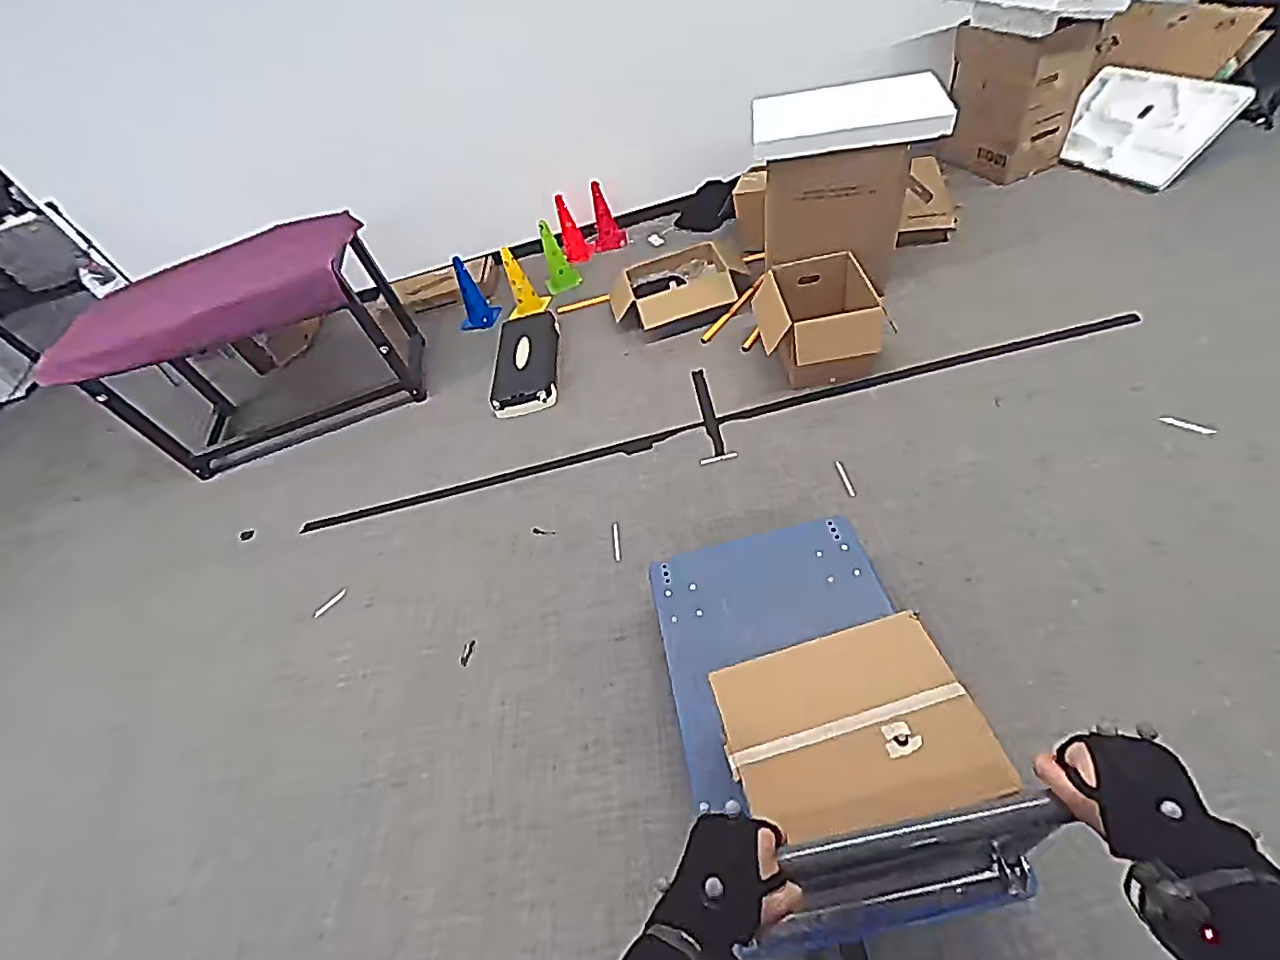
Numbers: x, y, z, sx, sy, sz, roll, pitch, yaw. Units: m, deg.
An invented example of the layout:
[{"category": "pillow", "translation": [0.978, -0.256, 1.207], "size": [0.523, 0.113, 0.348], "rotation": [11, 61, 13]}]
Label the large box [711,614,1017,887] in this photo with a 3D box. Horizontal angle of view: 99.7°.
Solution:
[{"category": "large box", "translation": [0.383, 0.518, 1.028], "size": [0.408, 0.320, 0.320], "rotation": [-17, 48, 0]}]
